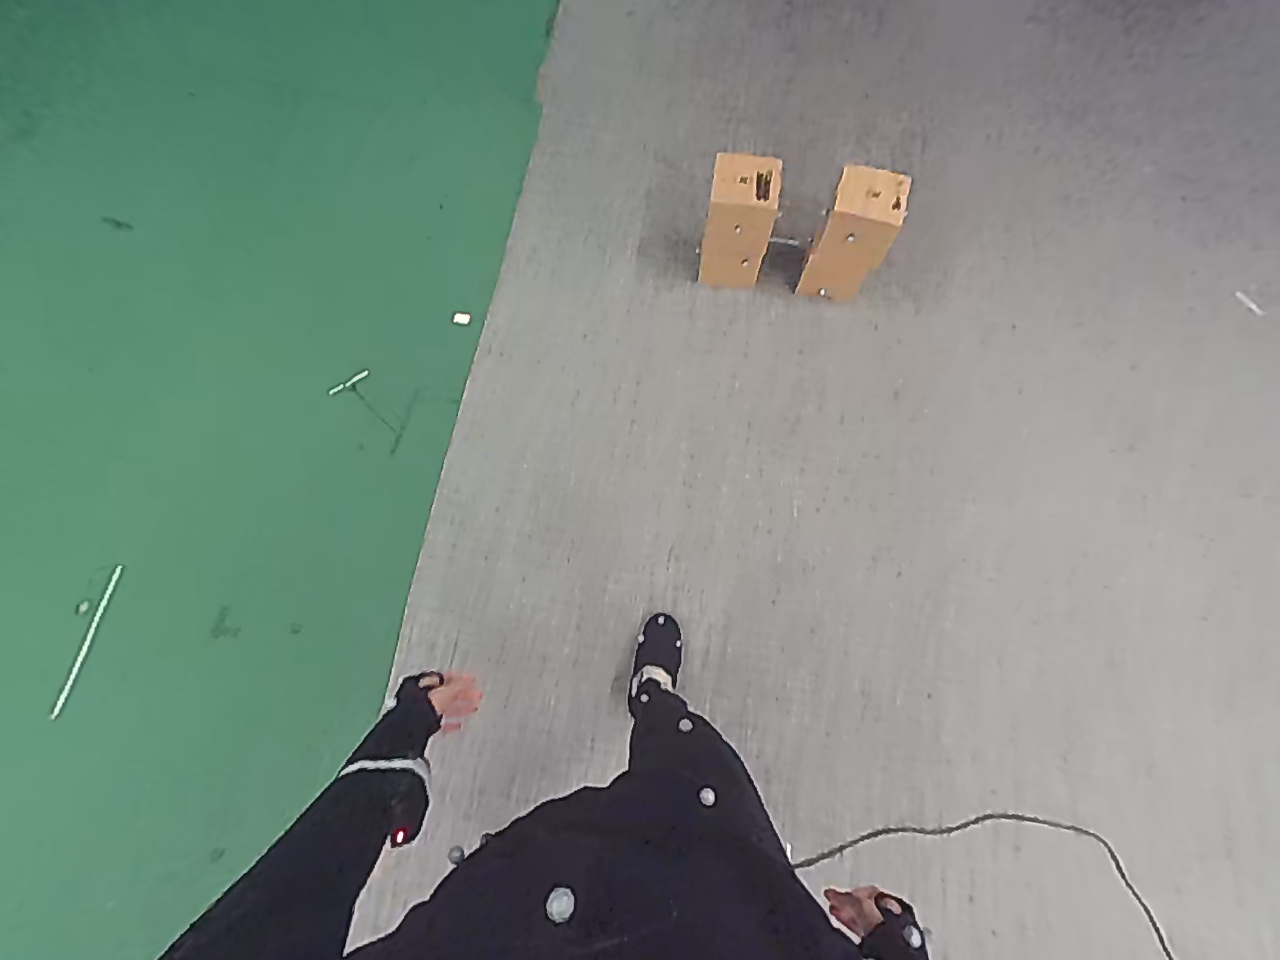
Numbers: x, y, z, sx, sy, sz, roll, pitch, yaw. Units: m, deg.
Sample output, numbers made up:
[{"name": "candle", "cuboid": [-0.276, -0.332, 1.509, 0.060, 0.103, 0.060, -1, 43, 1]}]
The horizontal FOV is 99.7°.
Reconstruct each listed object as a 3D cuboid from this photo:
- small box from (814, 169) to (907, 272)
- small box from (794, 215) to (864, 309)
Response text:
[{"name": "small box", "cuboid": [0.586, -0.691, 1.455, 0.179, 0.176, 0.168, 16, 73, 7]}, {"name": "small box", "cuboid": [0.574, -0.646, 1.614, 0.168, 0.176, 0.179, 16, 73, 7]}]
